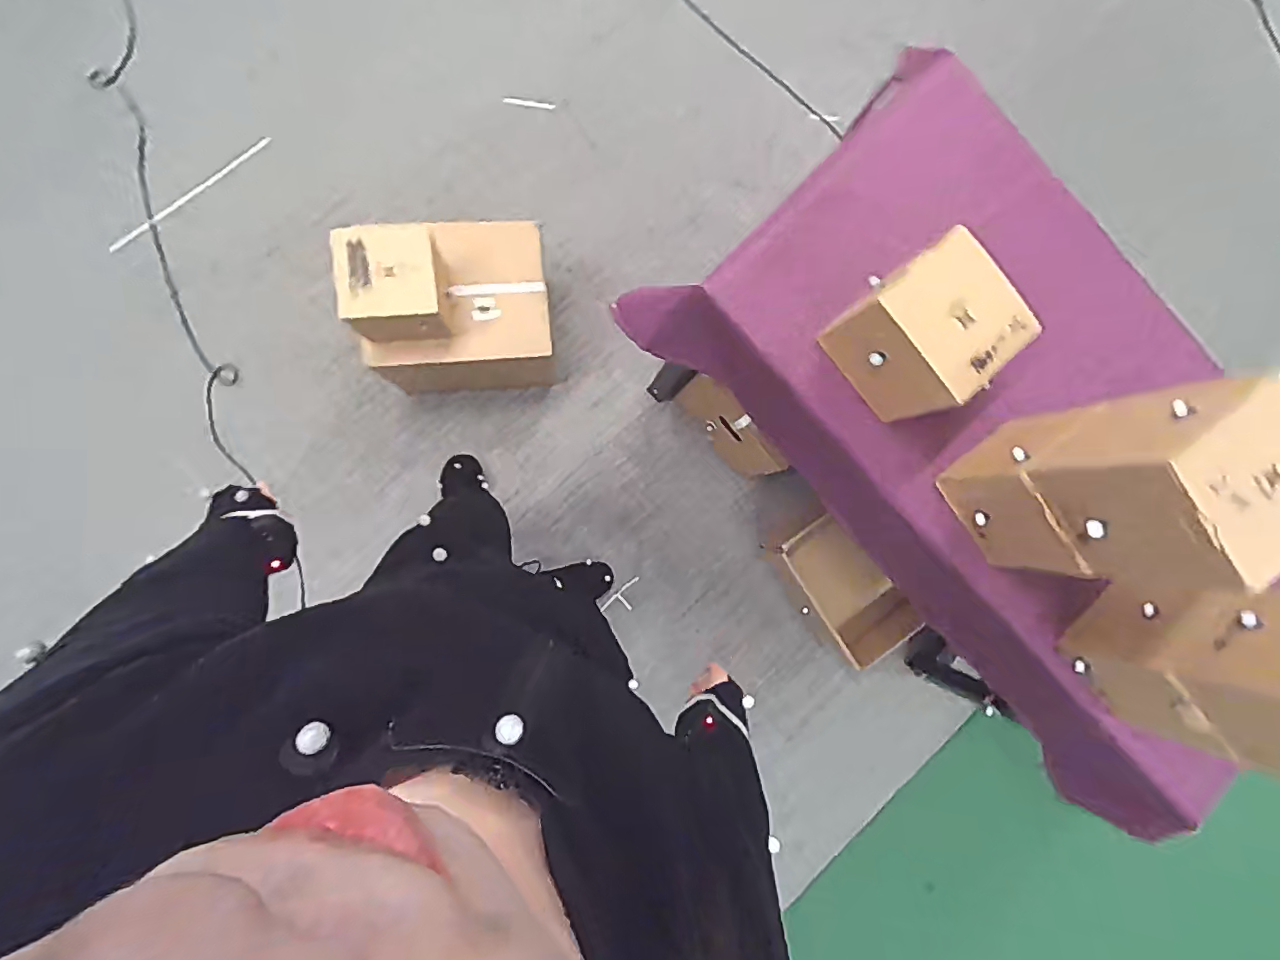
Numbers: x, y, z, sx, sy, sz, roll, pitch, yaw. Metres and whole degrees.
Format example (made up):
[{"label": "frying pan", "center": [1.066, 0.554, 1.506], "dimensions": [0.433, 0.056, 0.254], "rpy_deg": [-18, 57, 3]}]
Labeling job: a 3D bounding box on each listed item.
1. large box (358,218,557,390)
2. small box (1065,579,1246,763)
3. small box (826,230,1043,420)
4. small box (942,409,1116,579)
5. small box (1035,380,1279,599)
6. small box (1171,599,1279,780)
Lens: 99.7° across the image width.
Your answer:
[{"label": "large box", "center": [-0.421, -0.416, 1.333], "dimensions": [0.408, 0.320, 0.320], "rpy_deg": [-5, 90, -9]}, {"label": "small box", "center": [0.795, 0.271, 0.812], "dimensions": [0.179, 0.176, 0.168], "rpy_deg": [-40, 94, -8]}, {"label": "small box", "center": [0.404, -0.206, 0.774], "dimensions": [0.168, 0.176, 0.179], "rpy_deg": [-40, 93, -7]}, {"label": "small box", "center": [0.597, 0.019, 0.796], "dimensions": [0.179, 0.176, 0.168], "rpy_deg": [-35, 93, -7]}, {"label": "small box", "center": [0.626, 0.010, 0.634], "dimensions": [0.179, 0.176, 0.168], "rpy_deg": [-34, 92, -7]}, {"label": "small box", "center": [0.822, 0.267, 0.652], "dimensions": [0.168, 0.176, 0.179], "rpy_deg": [-39, 93, -8]}]
